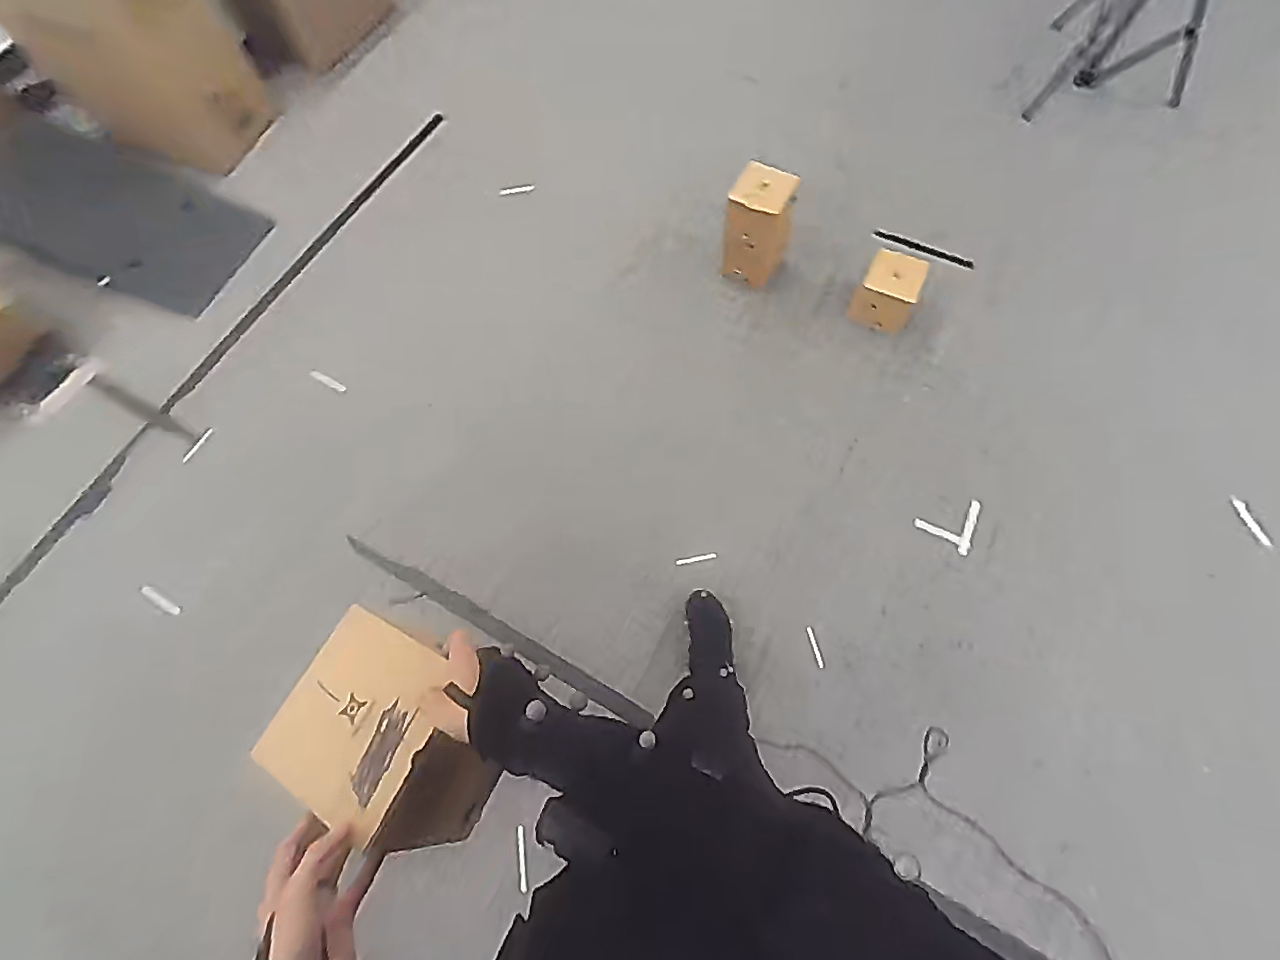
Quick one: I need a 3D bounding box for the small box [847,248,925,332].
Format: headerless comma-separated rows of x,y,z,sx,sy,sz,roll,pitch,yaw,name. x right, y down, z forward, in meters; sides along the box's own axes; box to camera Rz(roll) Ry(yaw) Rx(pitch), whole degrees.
0.799,-0.617,1.775,0.168,0.176,0.179,23,71,11,small box

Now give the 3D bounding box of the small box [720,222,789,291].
0.386,-0.792,1.860,0.168,0.176,0.179,28,72,14,small box

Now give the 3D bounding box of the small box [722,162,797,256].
0.370,-0.852,1.708,0.168,0.176,0.179,28,73,14,small box

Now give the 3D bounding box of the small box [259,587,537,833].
-0.242,0.243,0.584,0.179,0.176,0.168,19,68,26,small box
